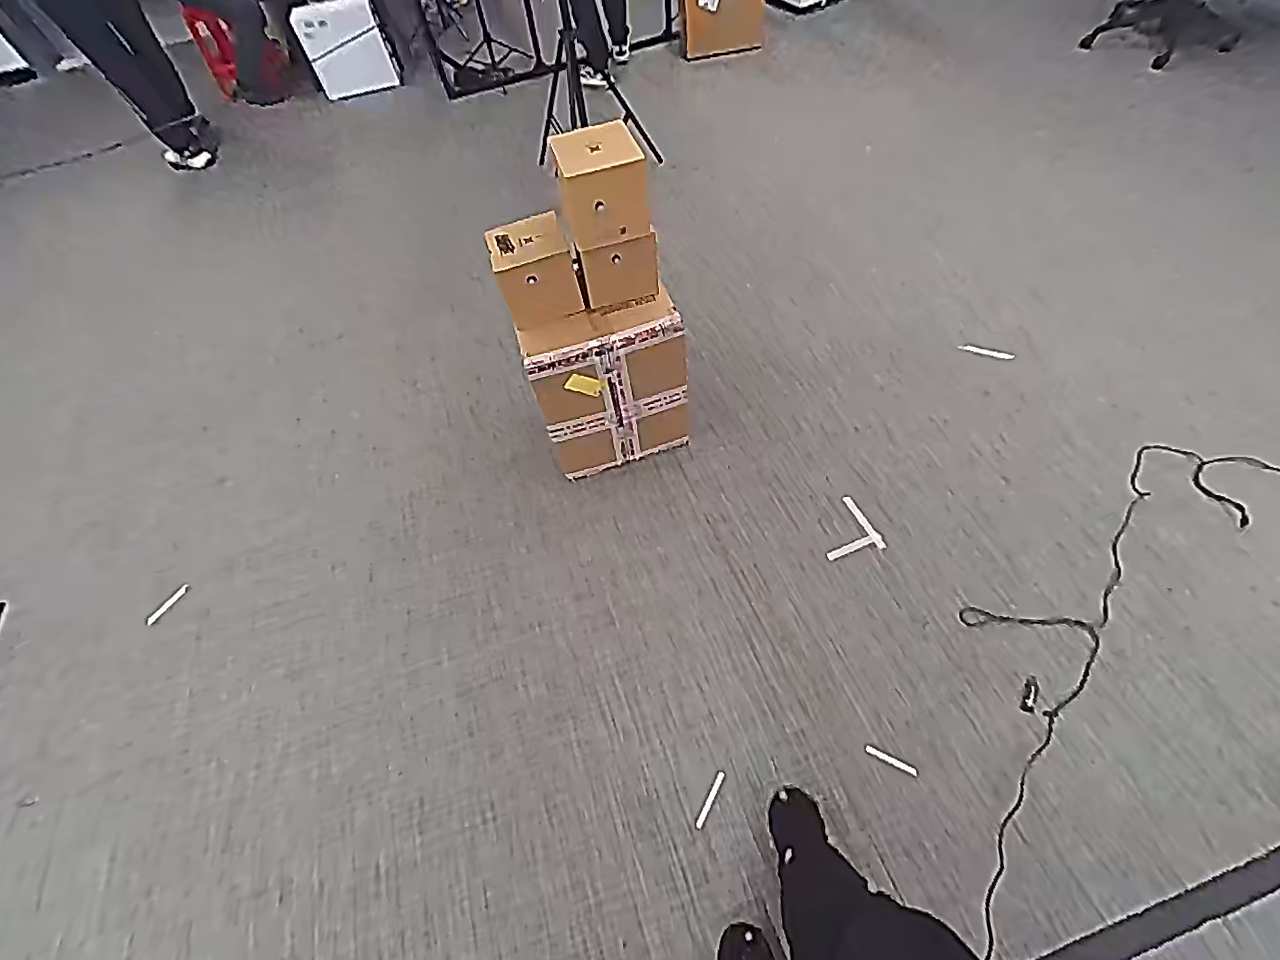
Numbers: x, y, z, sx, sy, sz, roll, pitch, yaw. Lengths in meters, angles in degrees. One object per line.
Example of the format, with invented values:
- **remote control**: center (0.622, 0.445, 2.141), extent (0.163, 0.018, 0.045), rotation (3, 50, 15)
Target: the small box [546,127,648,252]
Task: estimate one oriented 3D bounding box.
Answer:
- **small box**: center (-0.087, -0.613, 1.158), extent (0.168, 0.176, 0.179), rotation (-18, 57, -5)
